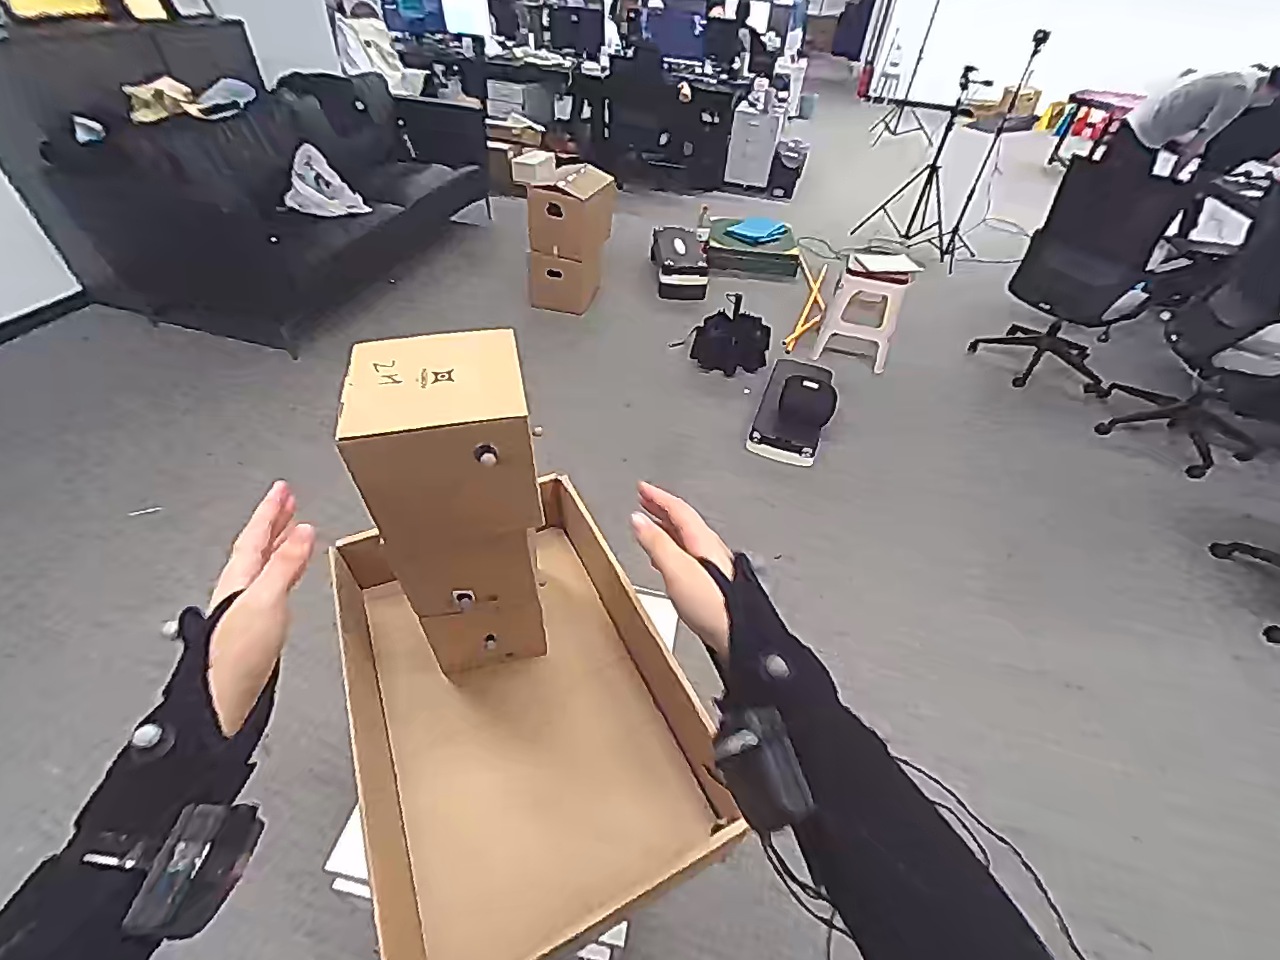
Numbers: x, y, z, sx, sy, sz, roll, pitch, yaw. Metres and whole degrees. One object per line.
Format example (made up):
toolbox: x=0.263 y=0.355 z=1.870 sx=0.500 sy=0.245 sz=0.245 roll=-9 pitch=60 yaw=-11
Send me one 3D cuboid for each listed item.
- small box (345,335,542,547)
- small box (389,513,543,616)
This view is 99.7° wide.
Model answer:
small box: x=-0.211 y=-0.045 z=0.626 sx=0.179 sy=0.176 sz=0.168 roll=-10 pitch=46 yaw=-11
small box: x=-0.229 y=0.063 z=0.751 sx=0.168 sy=0.176 sz=0.179 roll=-7 pitch=47 yaw=-8
